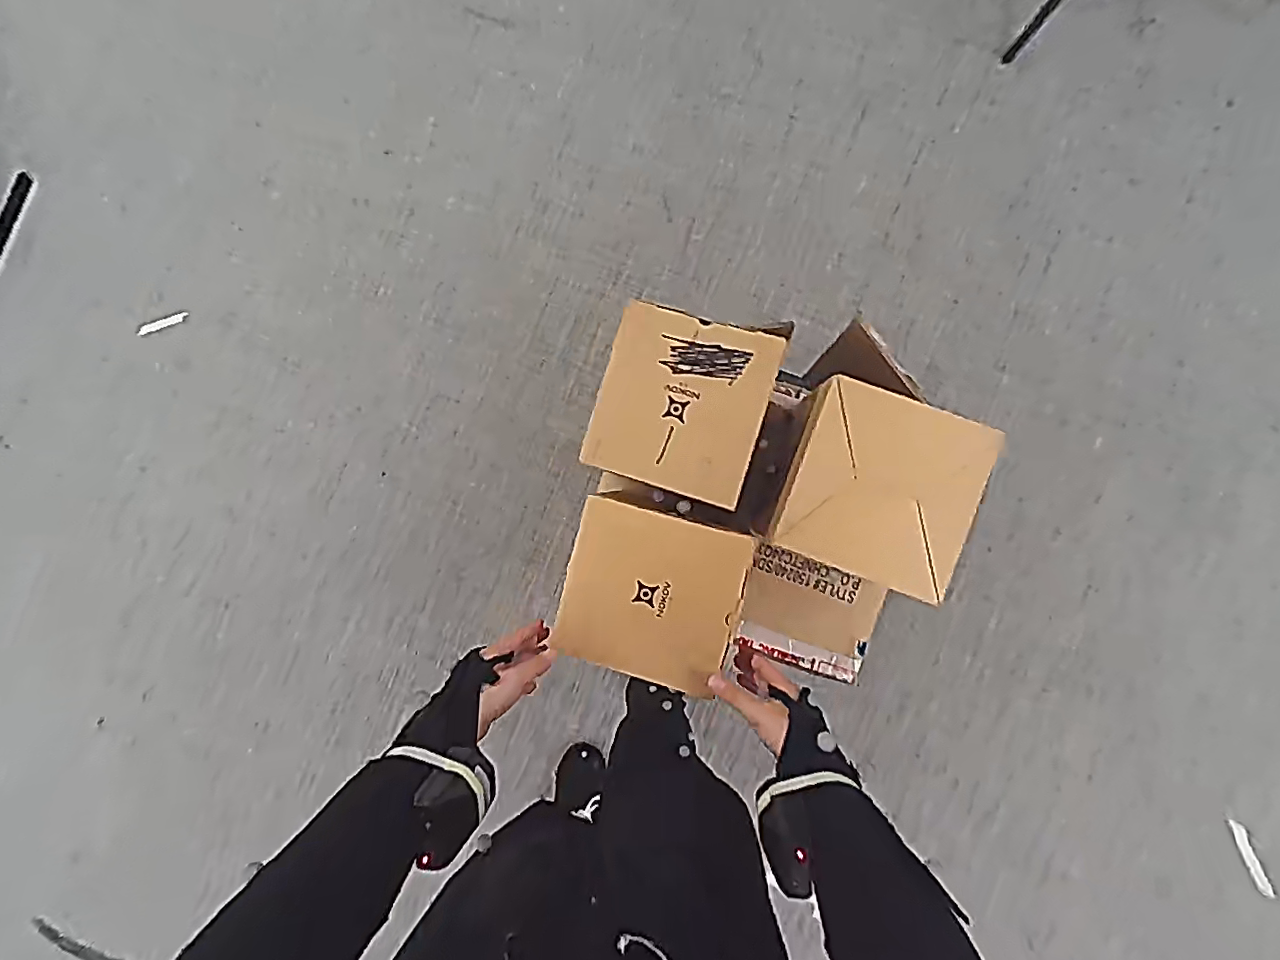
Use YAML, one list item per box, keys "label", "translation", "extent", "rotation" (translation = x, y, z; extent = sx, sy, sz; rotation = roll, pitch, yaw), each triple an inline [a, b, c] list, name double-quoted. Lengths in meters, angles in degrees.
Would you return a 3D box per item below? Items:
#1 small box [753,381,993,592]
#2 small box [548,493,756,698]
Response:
- label: "small box"
  translation: [0.237, 0.011, 0.590]
  extent: [0.168, 0.176, 0.179]
  rotation: [20, 91, 4]
- label: "small box"
  translation: [0.019, 0.115, 0.616]
  extent: [0.179, 0.176, 0.168]
  rotation: [15, 92, 6]
